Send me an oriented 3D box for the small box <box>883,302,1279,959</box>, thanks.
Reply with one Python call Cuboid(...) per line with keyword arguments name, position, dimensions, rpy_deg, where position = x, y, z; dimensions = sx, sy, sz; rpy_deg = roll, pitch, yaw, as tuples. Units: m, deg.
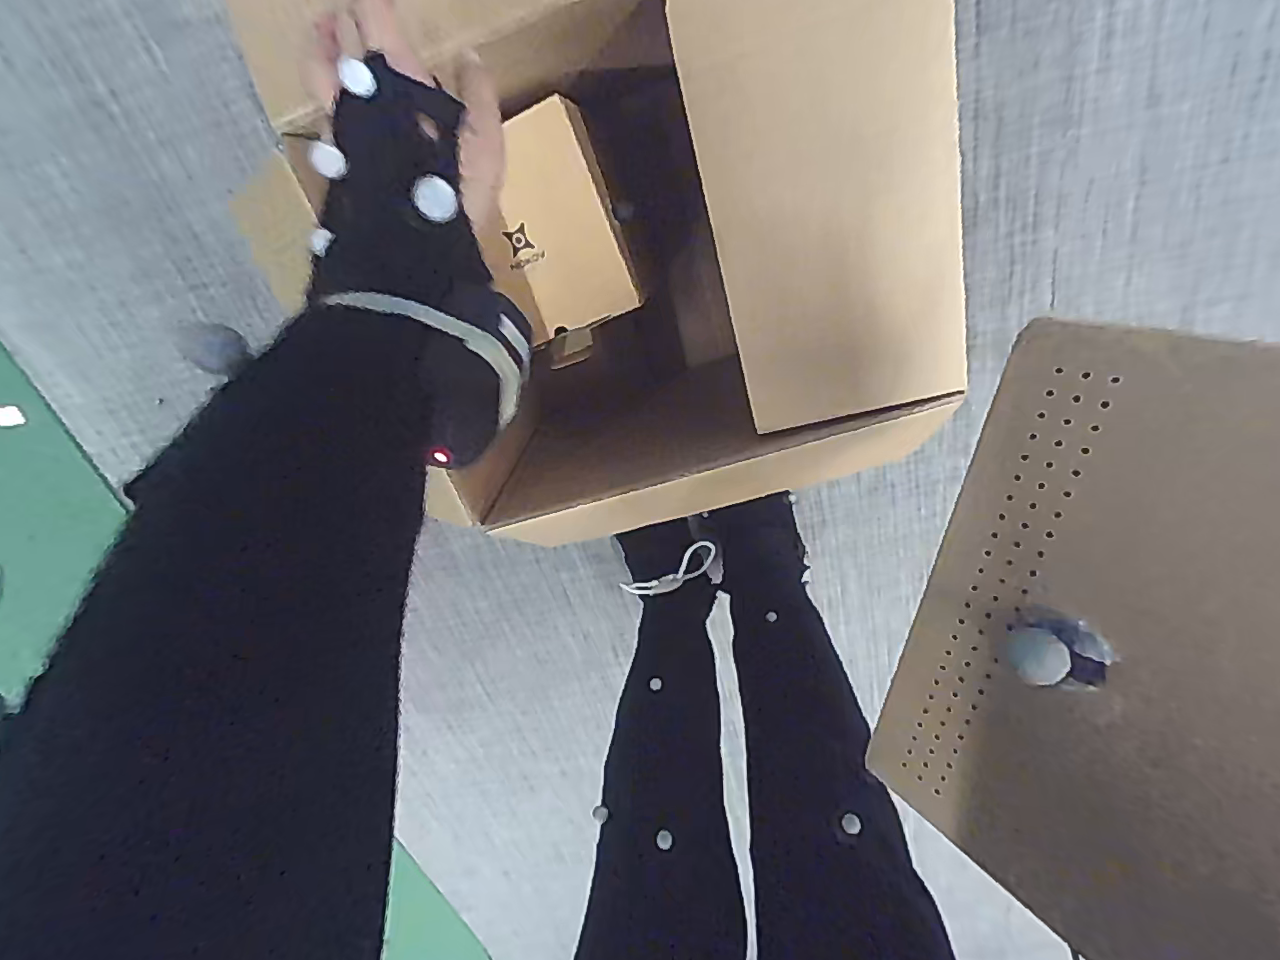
Cuboid(name="small box", position=(0.210, 0.050, 0.172), dimensions=(0.168, 0.176, 0.179), rpy_deg=(-8, 116, -33))
